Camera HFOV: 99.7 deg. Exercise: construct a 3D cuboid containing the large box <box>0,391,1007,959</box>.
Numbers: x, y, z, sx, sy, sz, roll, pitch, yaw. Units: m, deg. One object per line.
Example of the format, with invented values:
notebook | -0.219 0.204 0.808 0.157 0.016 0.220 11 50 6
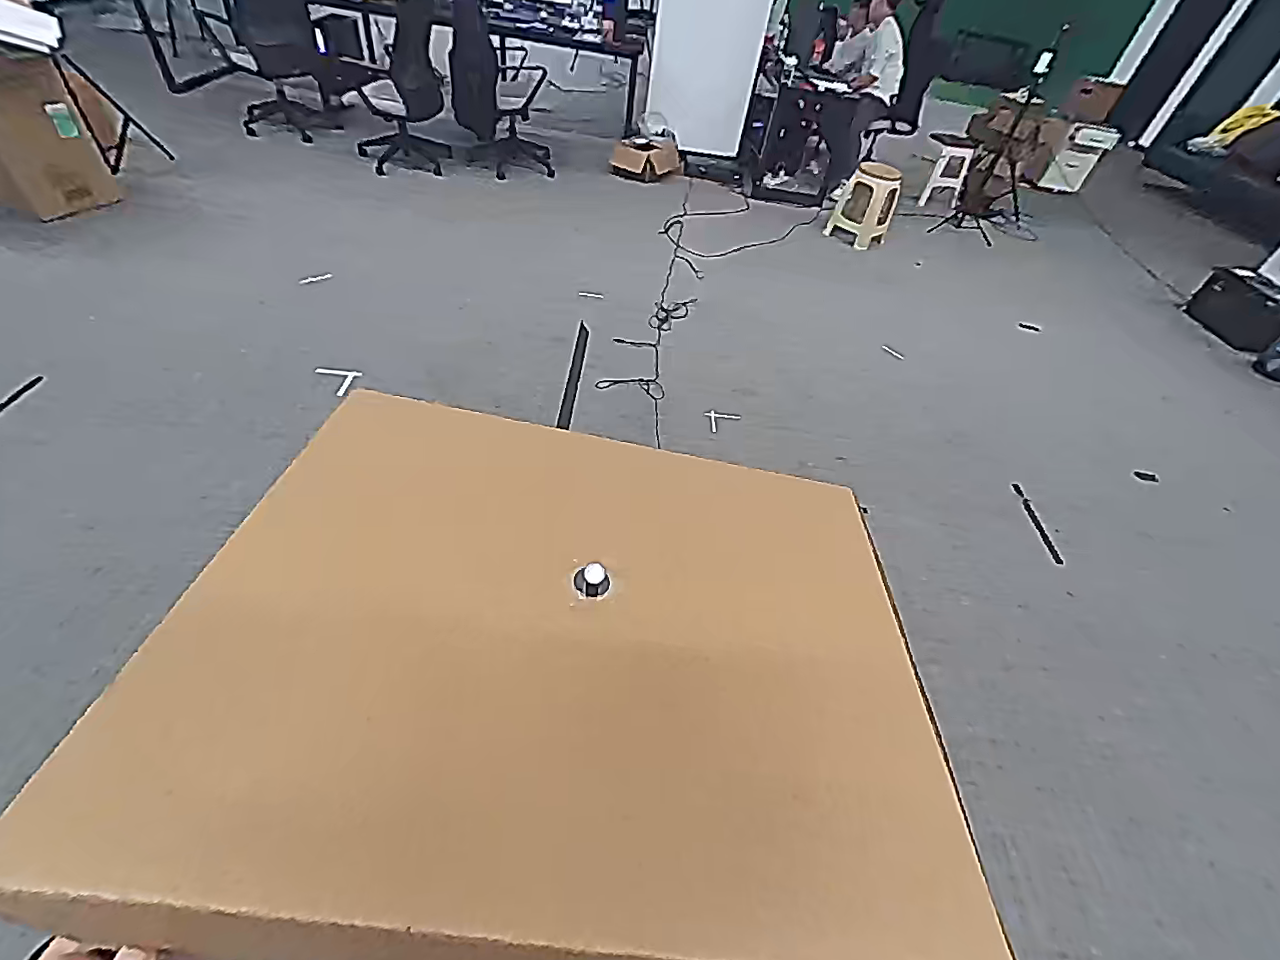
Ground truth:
large box | -0.062 0.168 0.416 0.408 0.320 0.320 11 43 -5
